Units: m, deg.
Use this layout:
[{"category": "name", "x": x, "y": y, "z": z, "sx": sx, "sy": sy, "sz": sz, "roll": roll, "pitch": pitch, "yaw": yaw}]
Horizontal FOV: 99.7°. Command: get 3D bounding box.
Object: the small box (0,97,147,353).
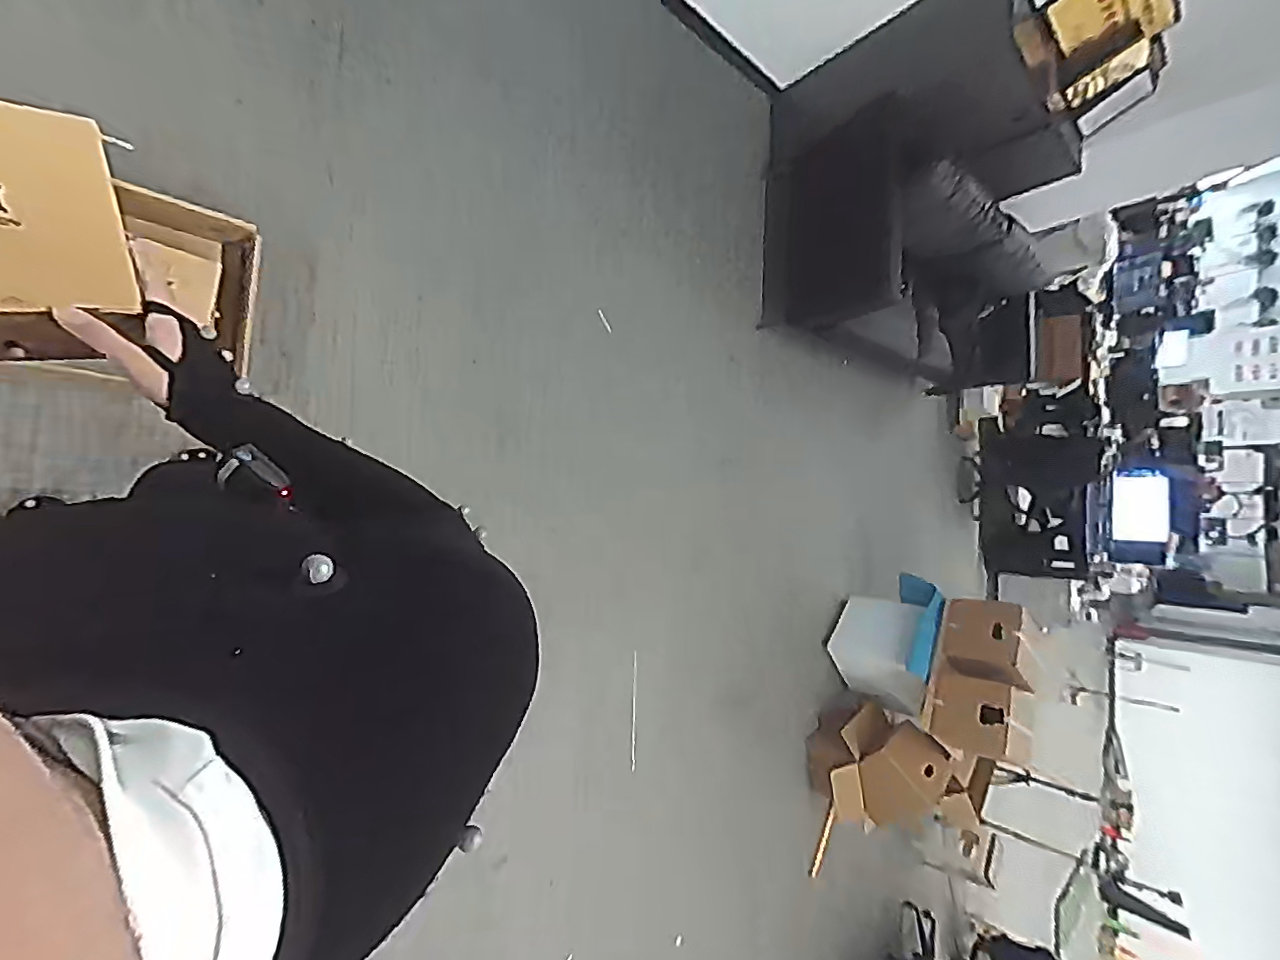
[{"category": "small box", "x": -0.584, "y": -0.222, "z": 0.494, "sx": 0.168, "sy": 0.176, "sz": 0.179, "roll": -15, "pitch": 98, "yaw": -43}]
